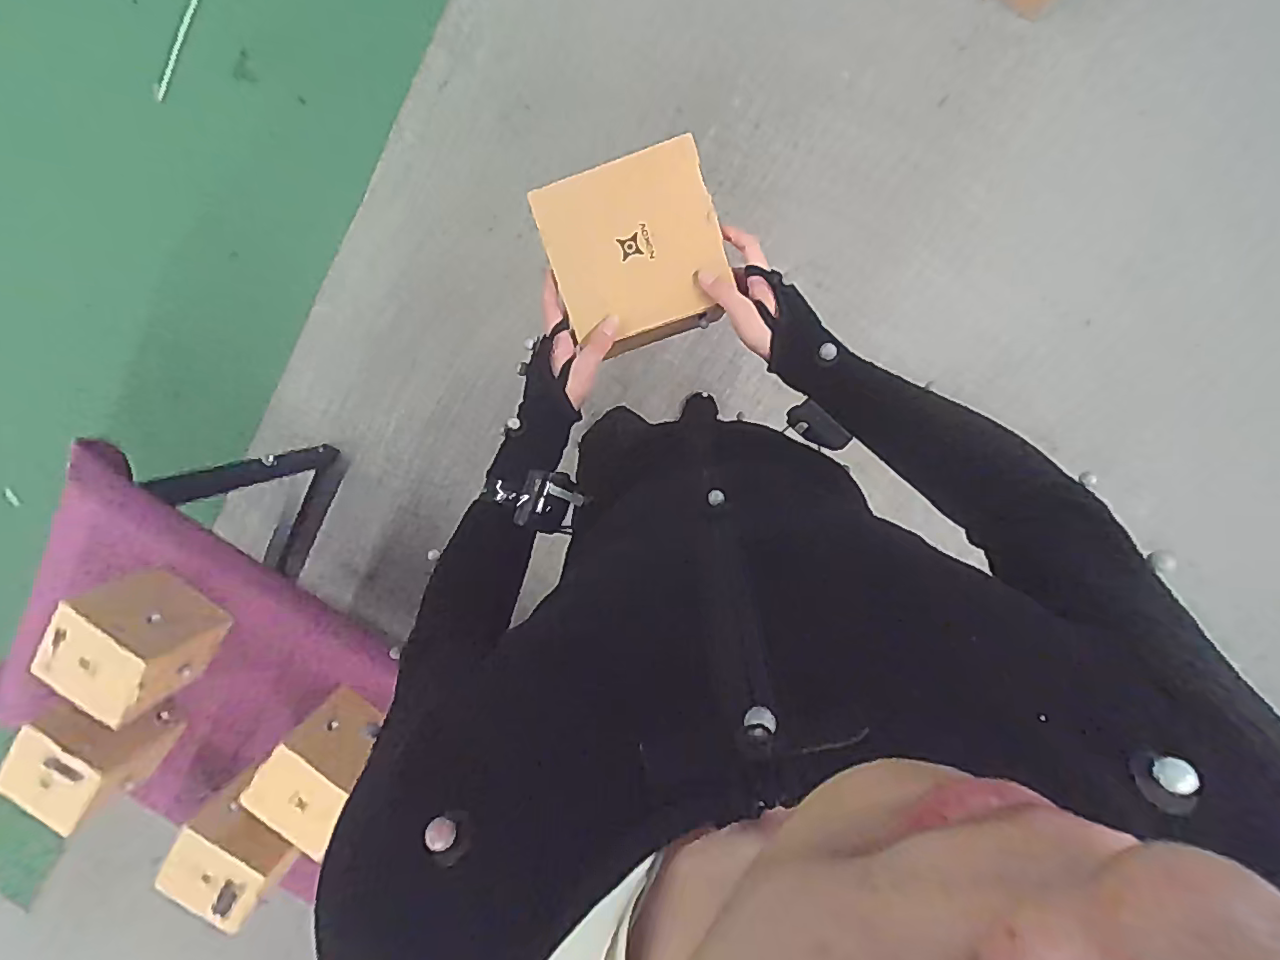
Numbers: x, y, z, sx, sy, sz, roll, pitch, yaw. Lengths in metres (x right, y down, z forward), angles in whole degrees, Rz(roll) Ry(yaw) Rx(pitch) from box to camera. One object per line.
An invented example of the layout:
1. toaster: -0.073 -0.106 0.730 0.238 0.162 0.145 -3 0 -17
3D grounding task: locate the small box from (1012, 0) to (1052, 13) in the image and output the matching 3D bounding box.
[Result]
1. small box: 0.918 -1.208 1.204 0.179 0.176 0.168 32 103 -1

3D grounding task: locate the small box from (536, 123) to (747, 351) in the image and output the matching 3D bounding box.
1. small box: 0.004 -0.254 0.613 0.179 0.176 0.168 -17 98 3

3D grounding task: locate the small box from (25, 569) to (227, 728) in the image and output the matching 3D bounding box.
1. small box: -0.896 0.287 0.960 0.179 0.176 0.168 37 104 -3

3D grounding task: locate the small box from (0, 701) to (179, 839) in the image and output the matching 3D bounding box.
1. small box: -1.035 0.513 1.022 0.168 0.176 0.179 38 103 -2

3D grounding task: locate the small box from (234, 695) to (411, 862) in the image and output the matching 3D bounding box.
1. small box: -0.559 0.520 0.974 0.179 0.176 0.168 40 104 -4
